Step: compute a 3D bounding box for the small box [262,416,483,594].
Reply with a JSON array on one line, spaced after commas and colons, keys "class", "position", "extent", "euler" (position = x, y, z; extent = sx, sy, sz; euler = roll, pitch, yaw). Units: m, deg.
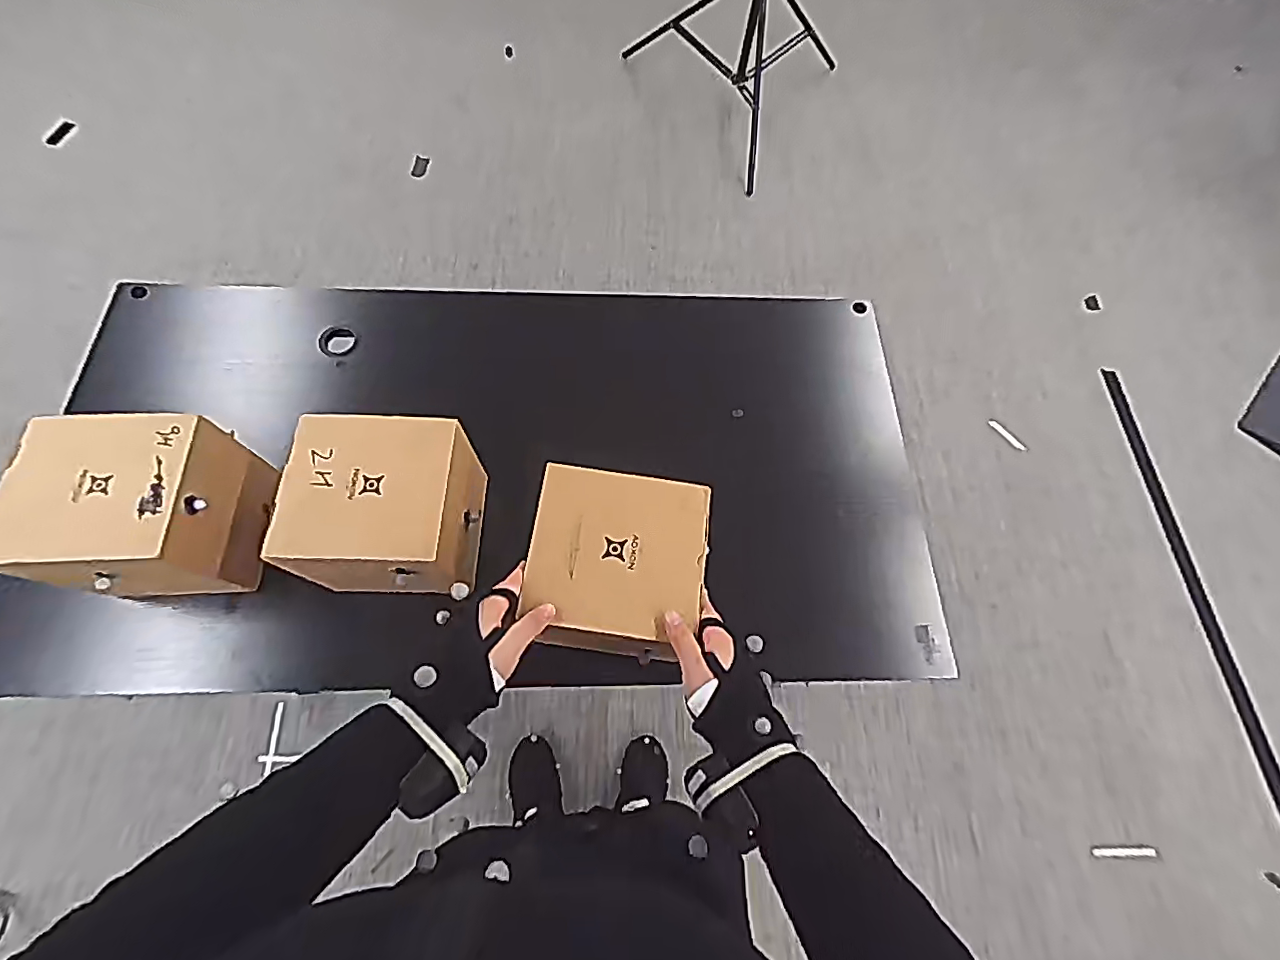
[{"class": "small box", "position": [-0.296, 0.038, 0.648], "extent": [0.179, 0.176, 0.168], "euler": [1, 67, -2]}]

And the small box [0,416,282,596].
[{"class": "small box", "position": [-0.569, 0.038, 0.634], "extent": [0.179, 0.176, 0.168], "euler": [-2, 68, -4]}]

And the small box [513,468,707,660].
[{"class": "small box", "position": [-0.029, 0.104, 0.611], "extent": [0.179, 0.176, 0.168], "euler": [7, 65, 0]}]
